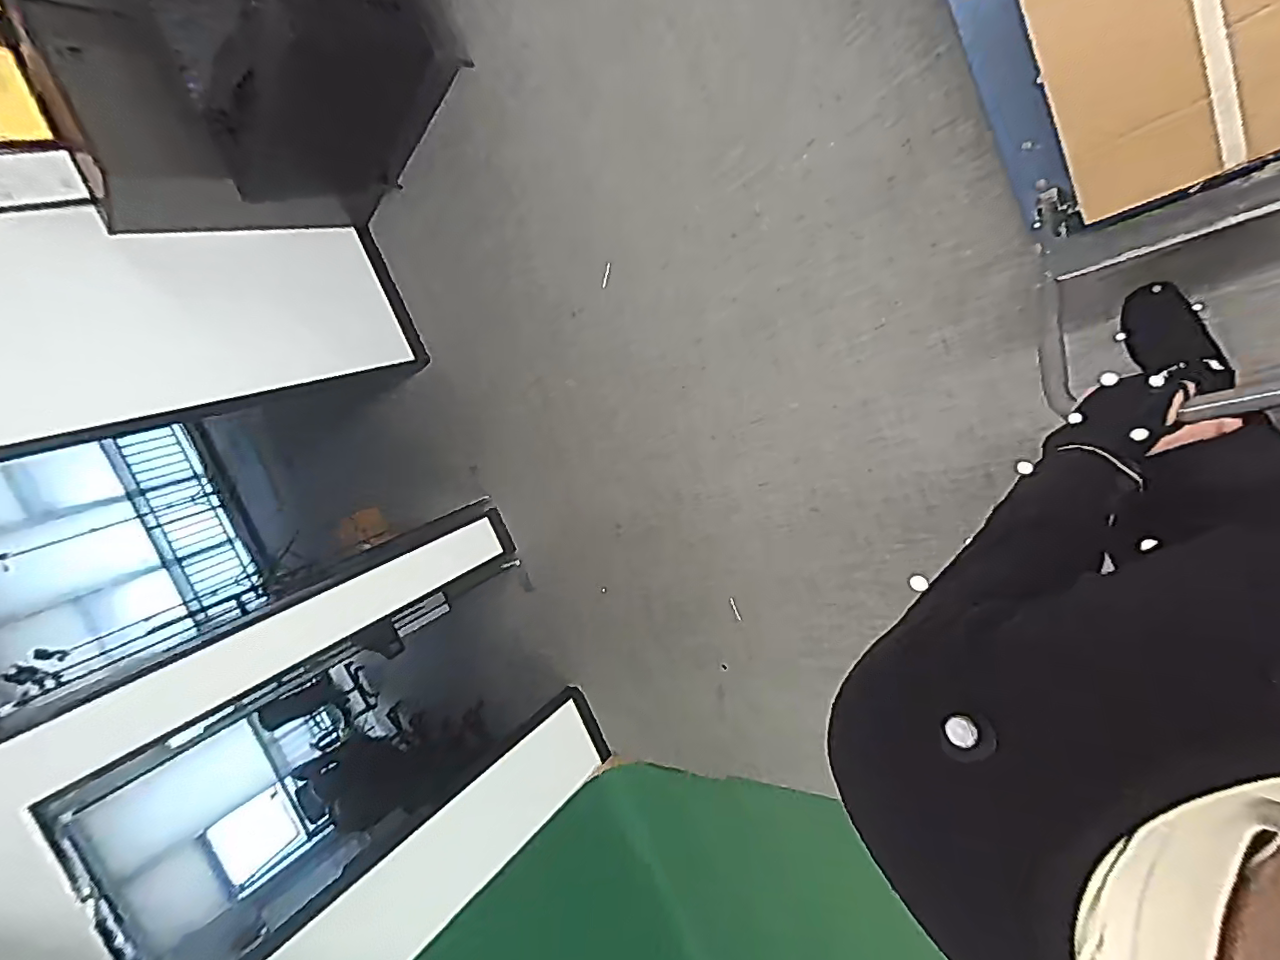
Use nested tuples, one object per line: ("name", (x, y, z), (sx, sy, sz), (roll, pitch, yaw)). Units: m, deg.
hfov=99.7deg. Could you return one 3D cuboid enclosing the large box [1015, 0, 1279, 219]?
("large box", (0.759, -0.667, 0.753), (0.320, 0.320, 0.408), (-14, 118, 45))
